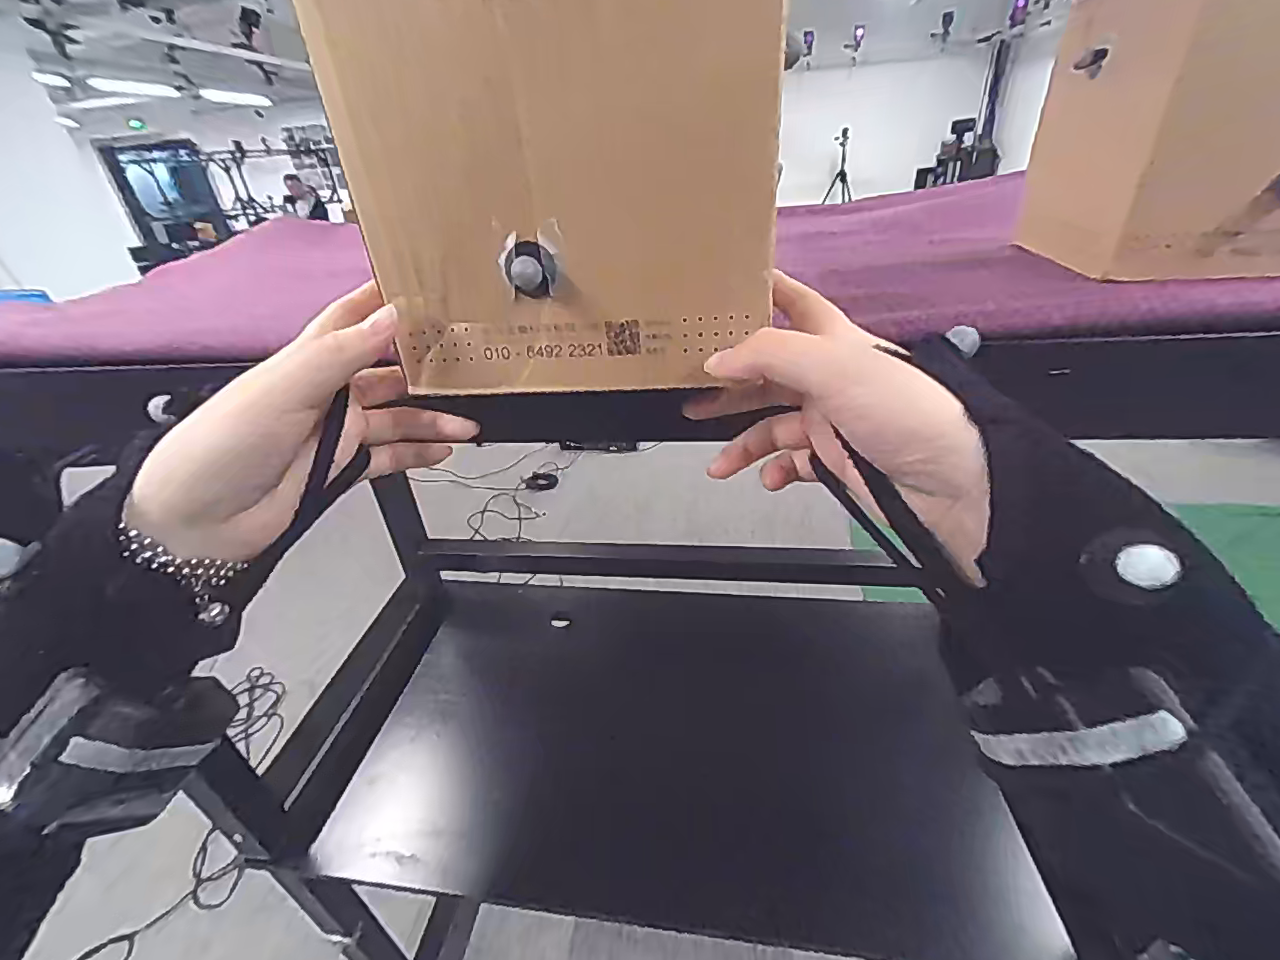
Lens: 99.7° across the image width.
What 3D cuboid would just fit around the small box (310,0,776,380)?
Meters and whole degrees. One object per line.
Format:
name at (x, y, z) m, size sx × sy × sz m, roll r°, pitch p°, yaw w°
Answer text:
small box at (-0.027, -0.158, 0.274) m, size 0.168 × 0.176 × 0.179 m, roll -1°, pitch 31°, yaw 7°

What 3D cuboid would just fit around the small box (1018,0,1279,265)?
small box at (0.376, -0.239, 0.343) m, size 0.168 × 0.176 × 0.179 m, roll 2°, pitch 33°, yaw 14°
